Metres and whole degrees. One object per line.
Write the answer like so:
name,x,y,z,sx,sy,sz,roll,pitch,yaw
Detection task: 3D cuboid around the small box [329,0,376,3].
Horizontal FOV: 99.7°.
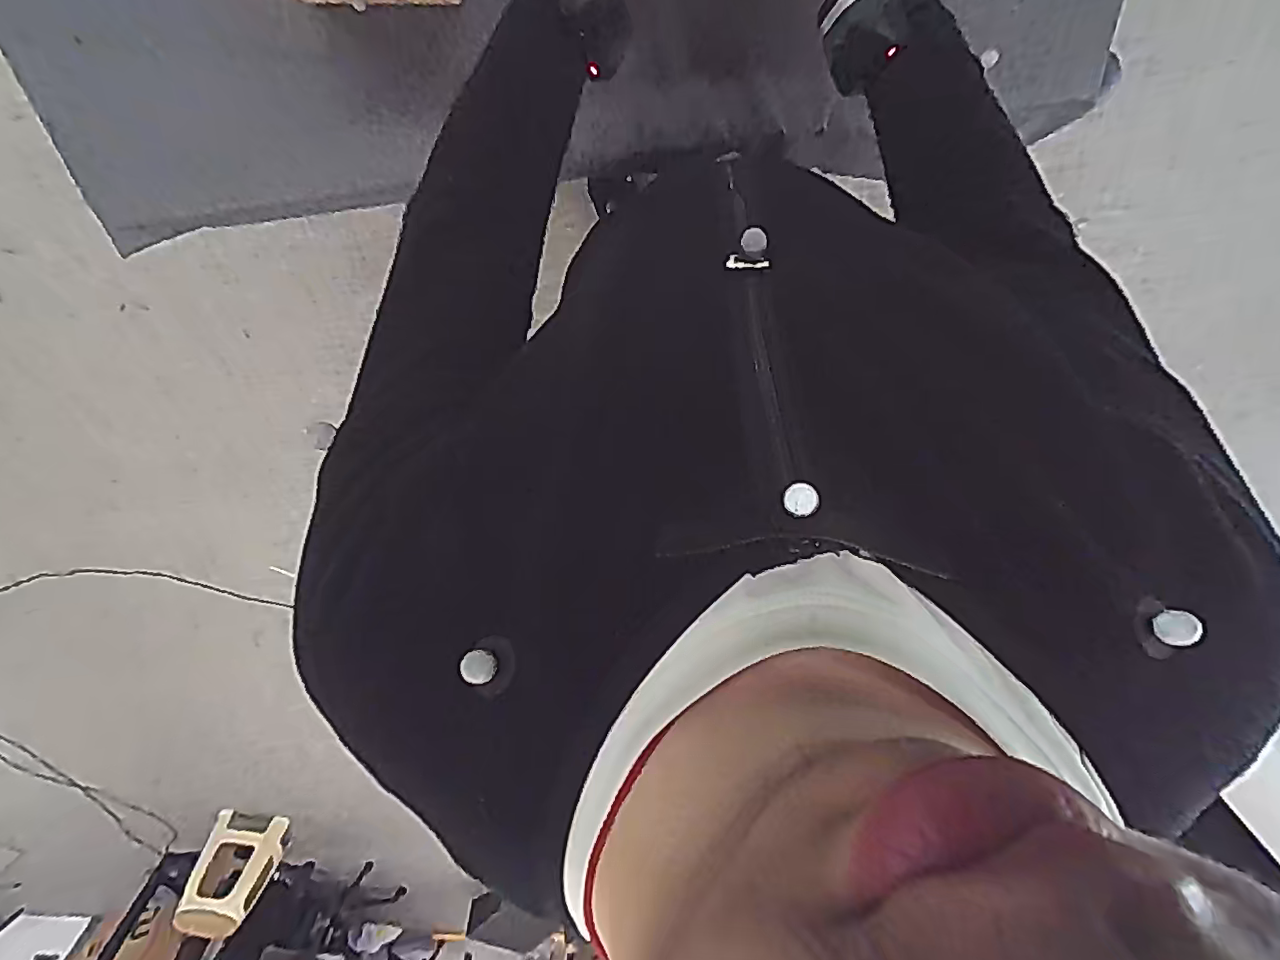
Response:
small box,-0.262,-0.539,0.465,0.168,0.176,0.179,-2,122,3
